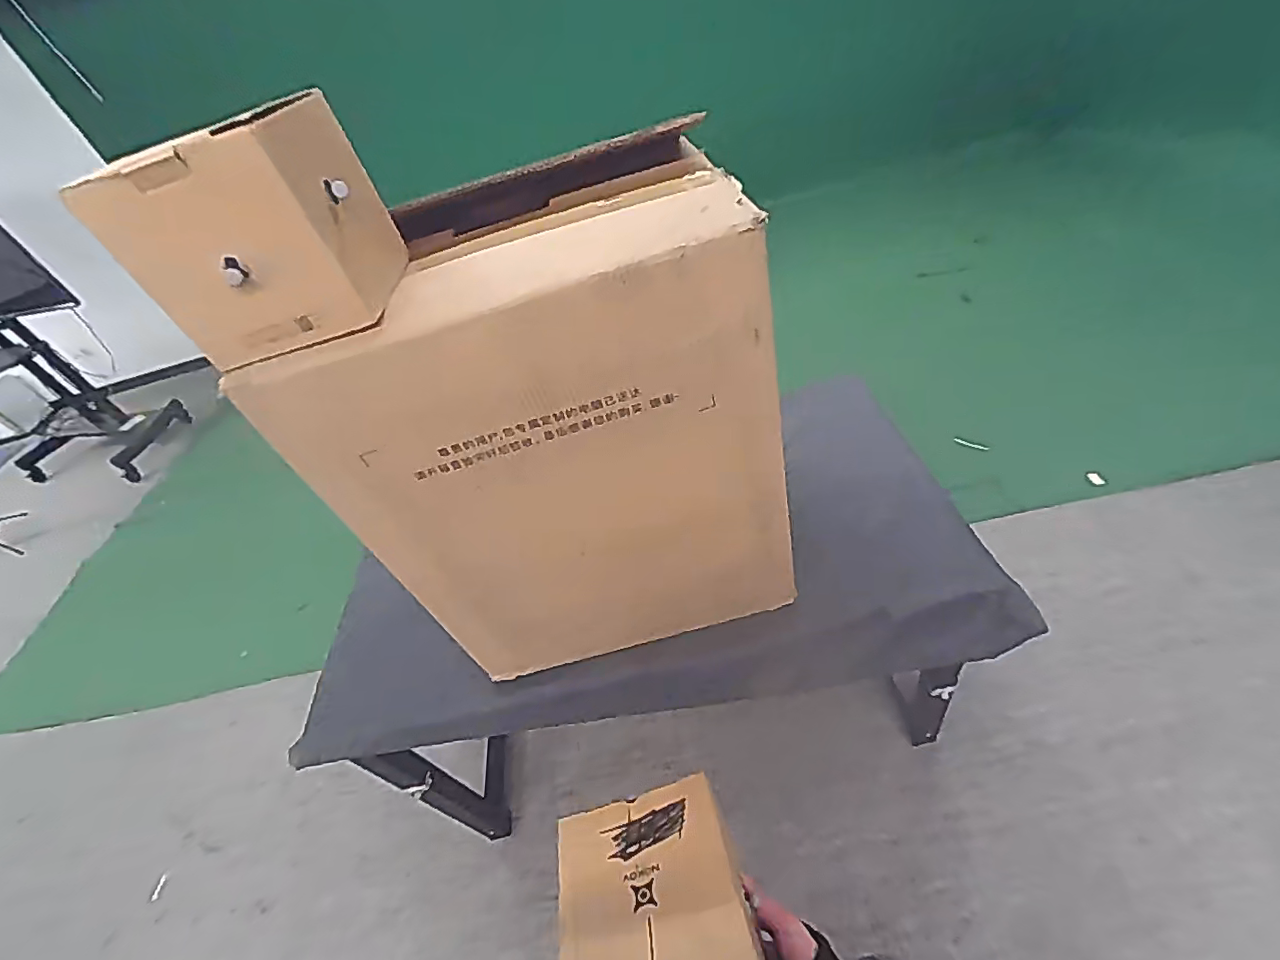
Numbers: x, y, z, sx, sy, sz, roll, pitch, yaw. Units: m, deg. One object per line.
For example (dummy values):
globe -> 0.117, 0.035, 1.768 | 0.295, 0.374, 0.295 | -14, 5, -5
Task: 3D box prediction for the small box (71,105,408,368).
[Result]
small box -> -0.352, -0.226, 0.523 | 0.168, 0.176, 0.179 | -16, 43, 4
